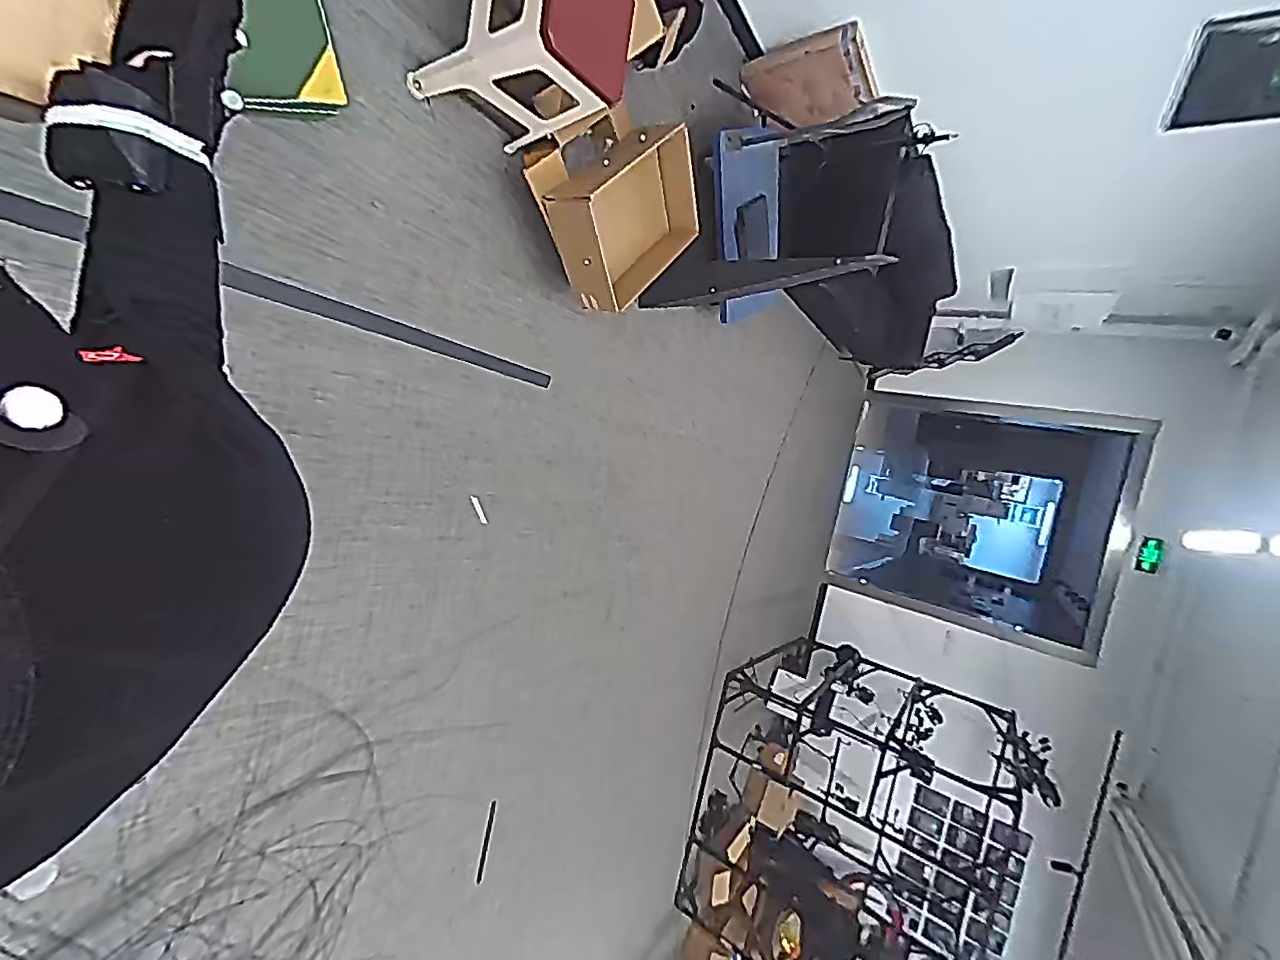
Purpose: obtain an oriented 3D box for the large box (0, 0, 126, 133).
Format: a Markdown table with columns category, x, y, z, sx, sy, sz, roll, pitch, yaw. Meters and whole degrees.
| category | x | y | z | sx | sy | sz | roll | pitch | yaw |
| --- | --- | --- | --- | --- | --- | --- | --- | --- | --- |
| large box | -0.580 | -0.438 | 0.276 | 0.408 | 0.320 | 0.320 | -7 | 118 | -58 |
